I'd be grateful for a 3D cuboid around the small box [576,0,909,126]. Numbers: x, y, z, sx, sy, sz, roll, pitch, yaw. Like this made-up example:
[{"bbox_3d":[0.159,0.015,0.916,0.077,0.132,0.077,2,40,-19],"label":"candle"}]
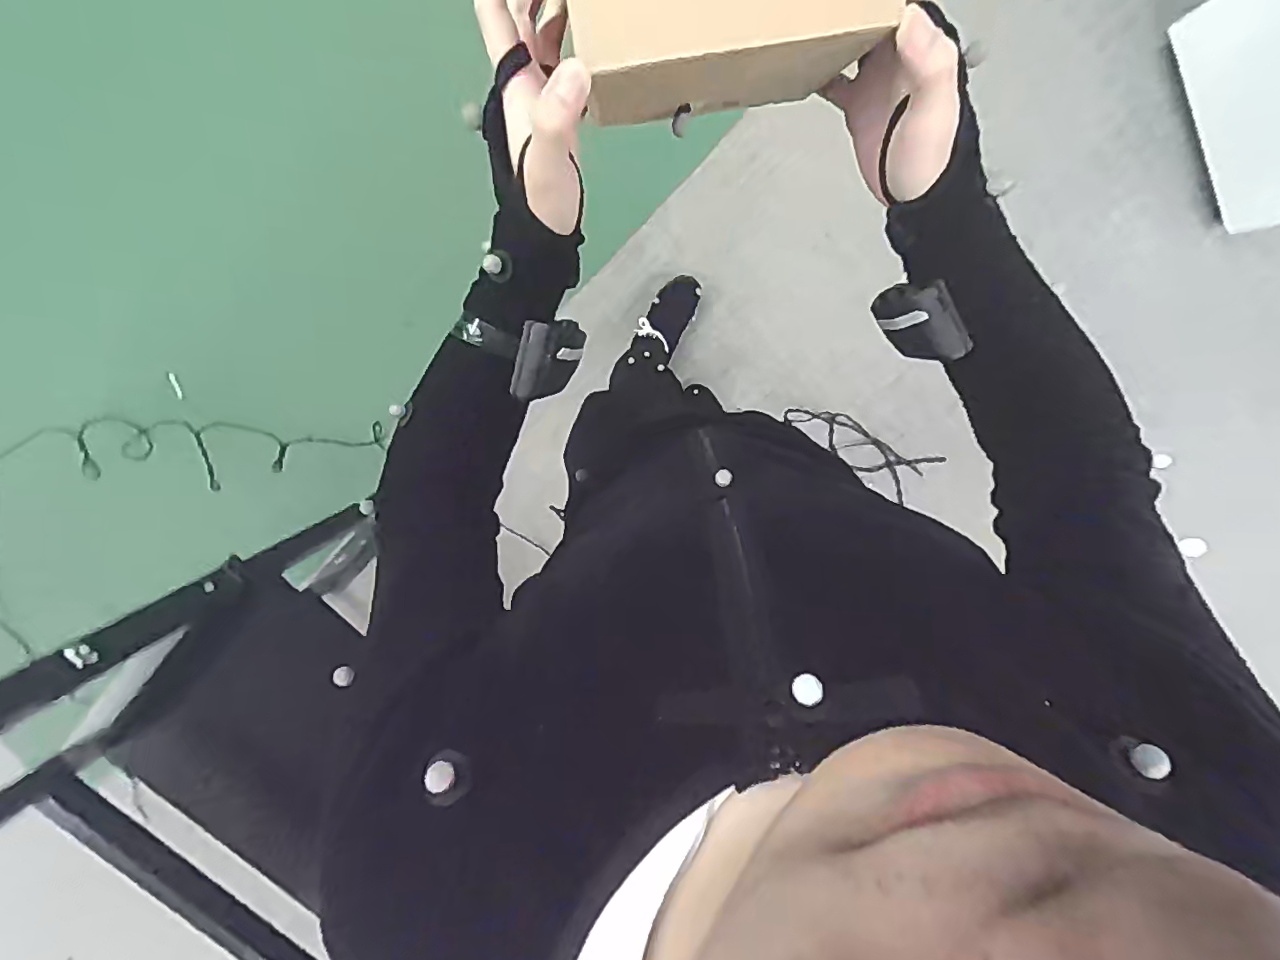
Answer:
[{"bbox_3d":[0.042,-0.327,0.309,0.168,0.176,0.179,-6,115,2],"label":"small box"}]
